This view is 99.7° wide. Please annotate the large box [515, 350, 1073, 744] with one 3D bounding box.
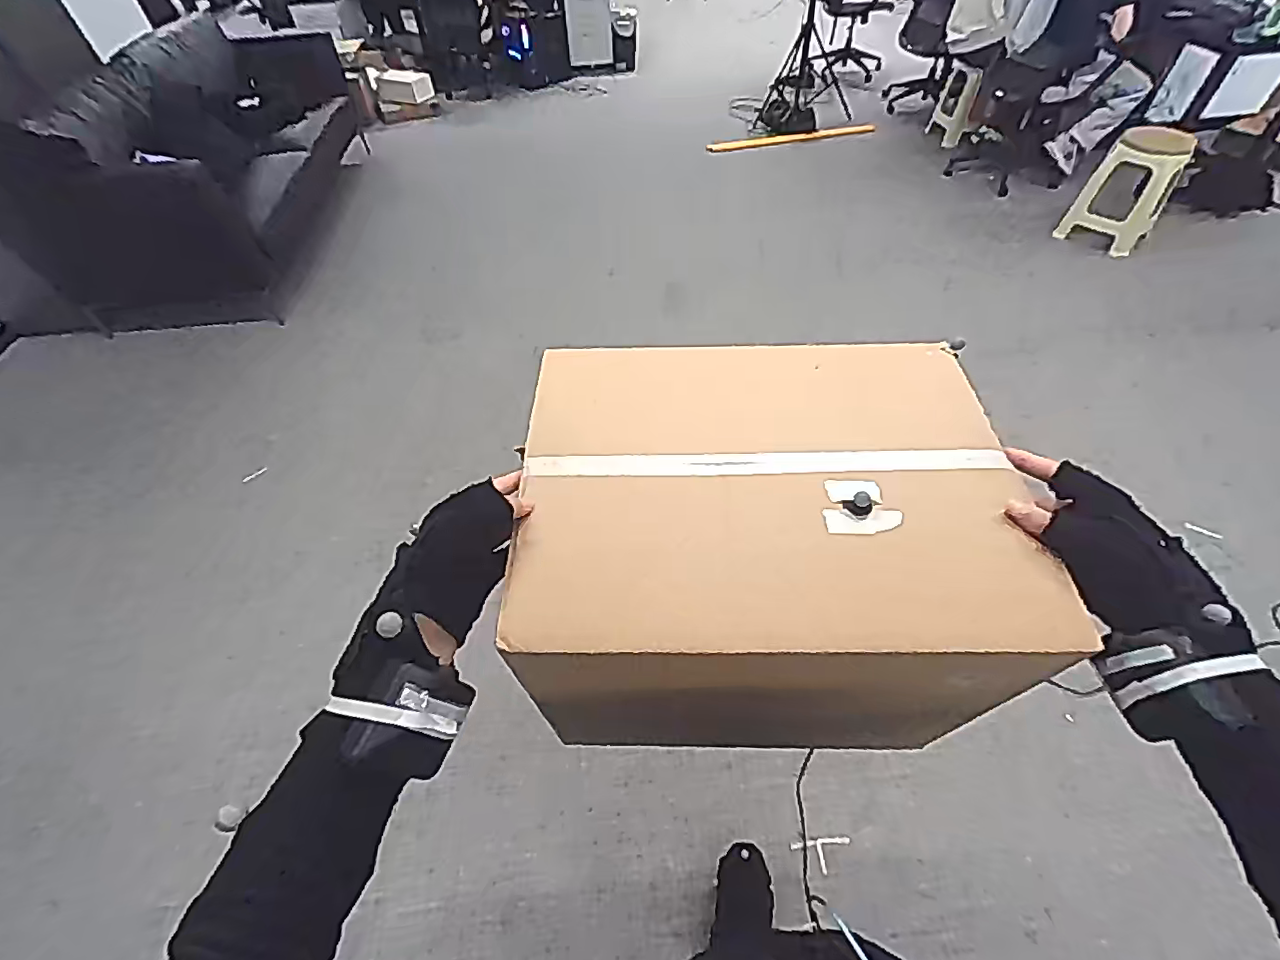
[{"bbox_3d":[0.109,0.084,0.587,0.408,0.320,0.320,-1,54,2],"label":"large box"}]
